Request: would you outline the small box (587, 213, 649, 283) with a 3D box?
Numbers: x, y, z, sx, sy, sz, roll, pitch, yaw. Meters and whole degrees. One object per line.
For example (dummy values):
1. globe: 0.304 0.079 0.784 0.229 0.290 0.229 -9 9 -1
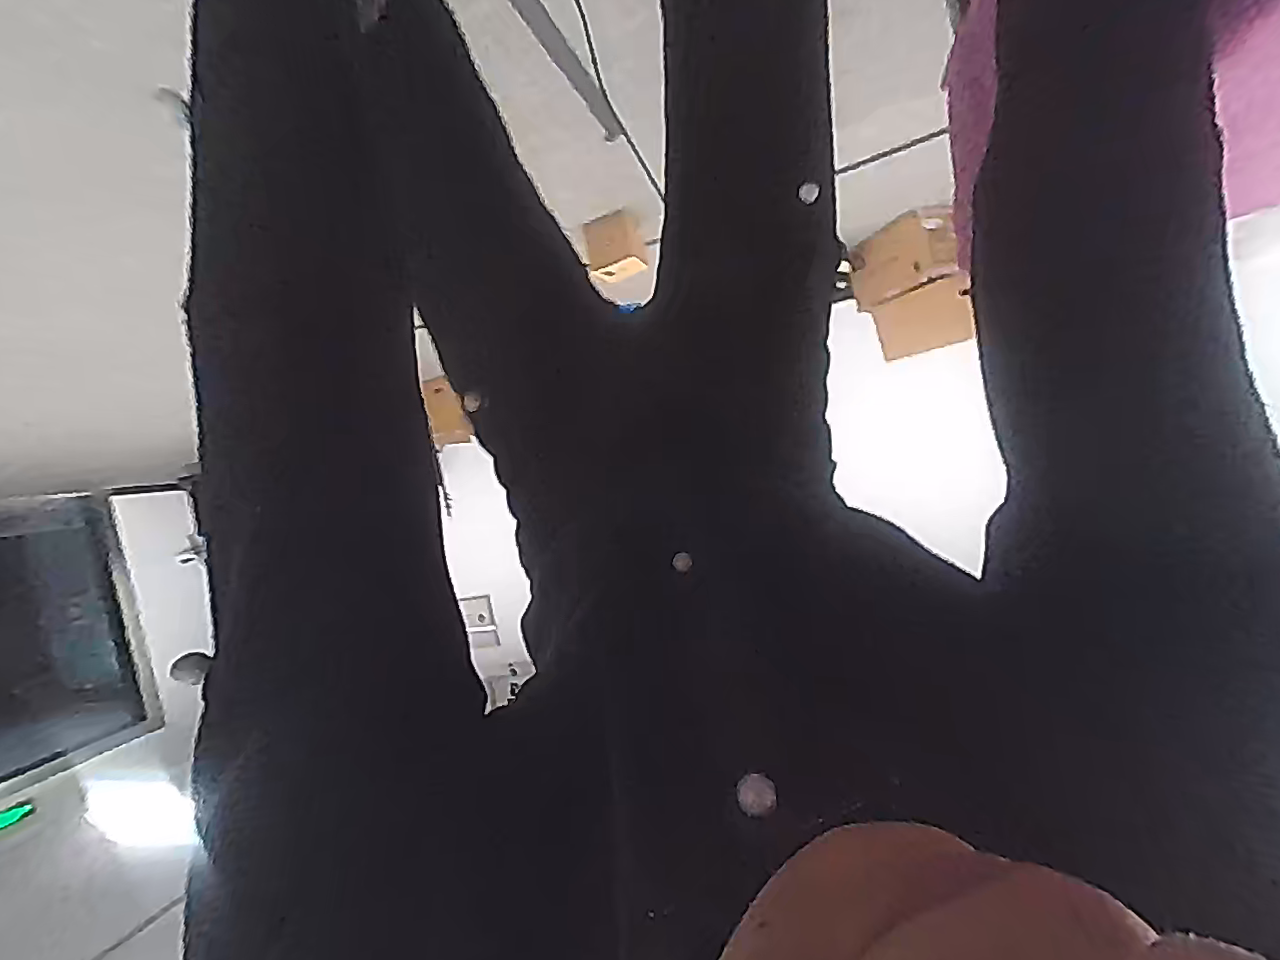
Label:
1. small box: -0.086 -0.862 2.015 0.179 0.176 0.168 -12 -178 23
